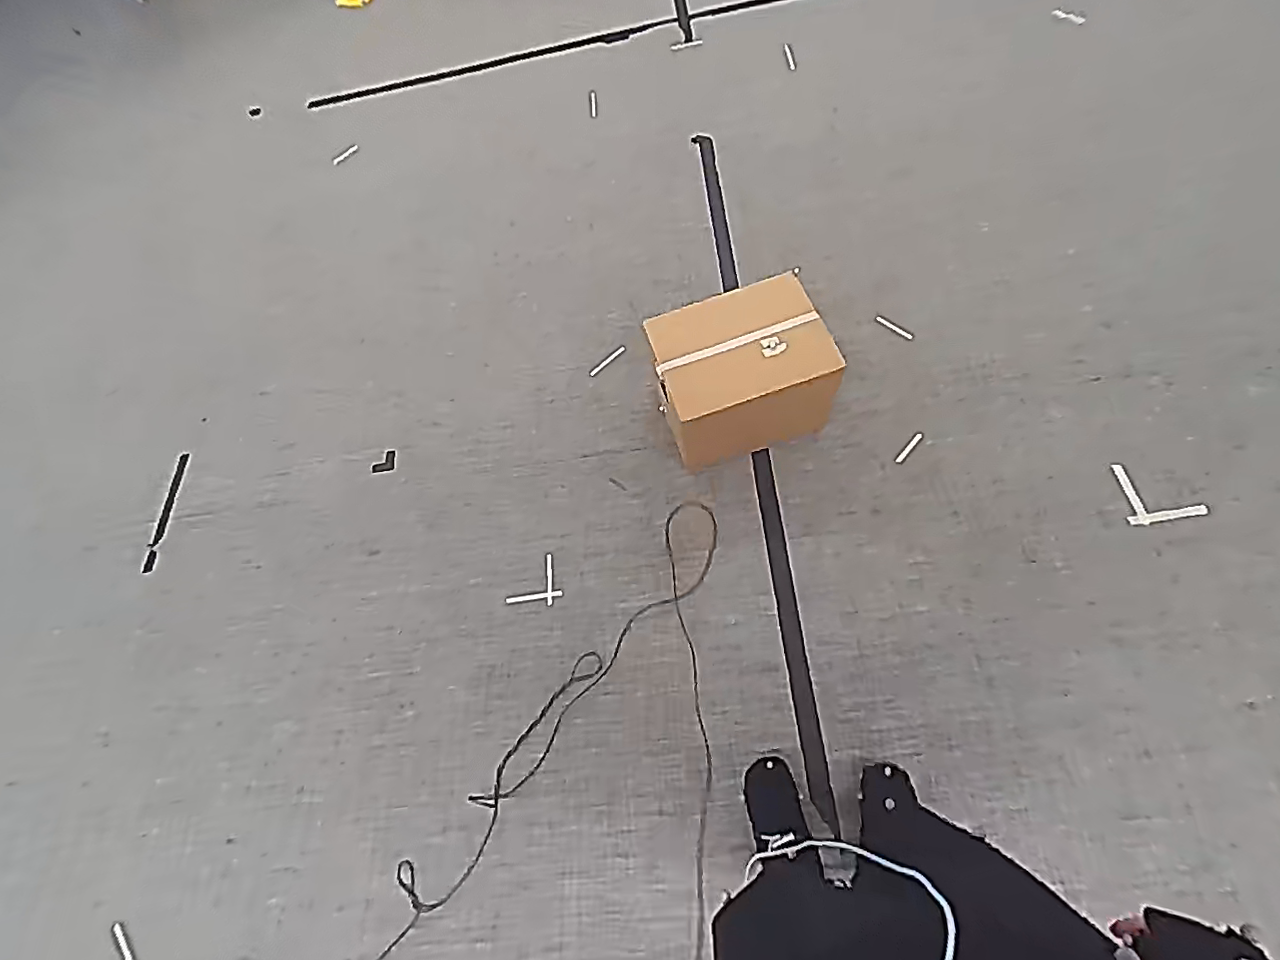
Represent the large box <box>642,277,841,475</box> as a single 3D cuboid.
[{"bbox_3d":[0.253,-0.262,1.438,0.408,0.320,0.320,-18,67,0],"label":"large box"}]
